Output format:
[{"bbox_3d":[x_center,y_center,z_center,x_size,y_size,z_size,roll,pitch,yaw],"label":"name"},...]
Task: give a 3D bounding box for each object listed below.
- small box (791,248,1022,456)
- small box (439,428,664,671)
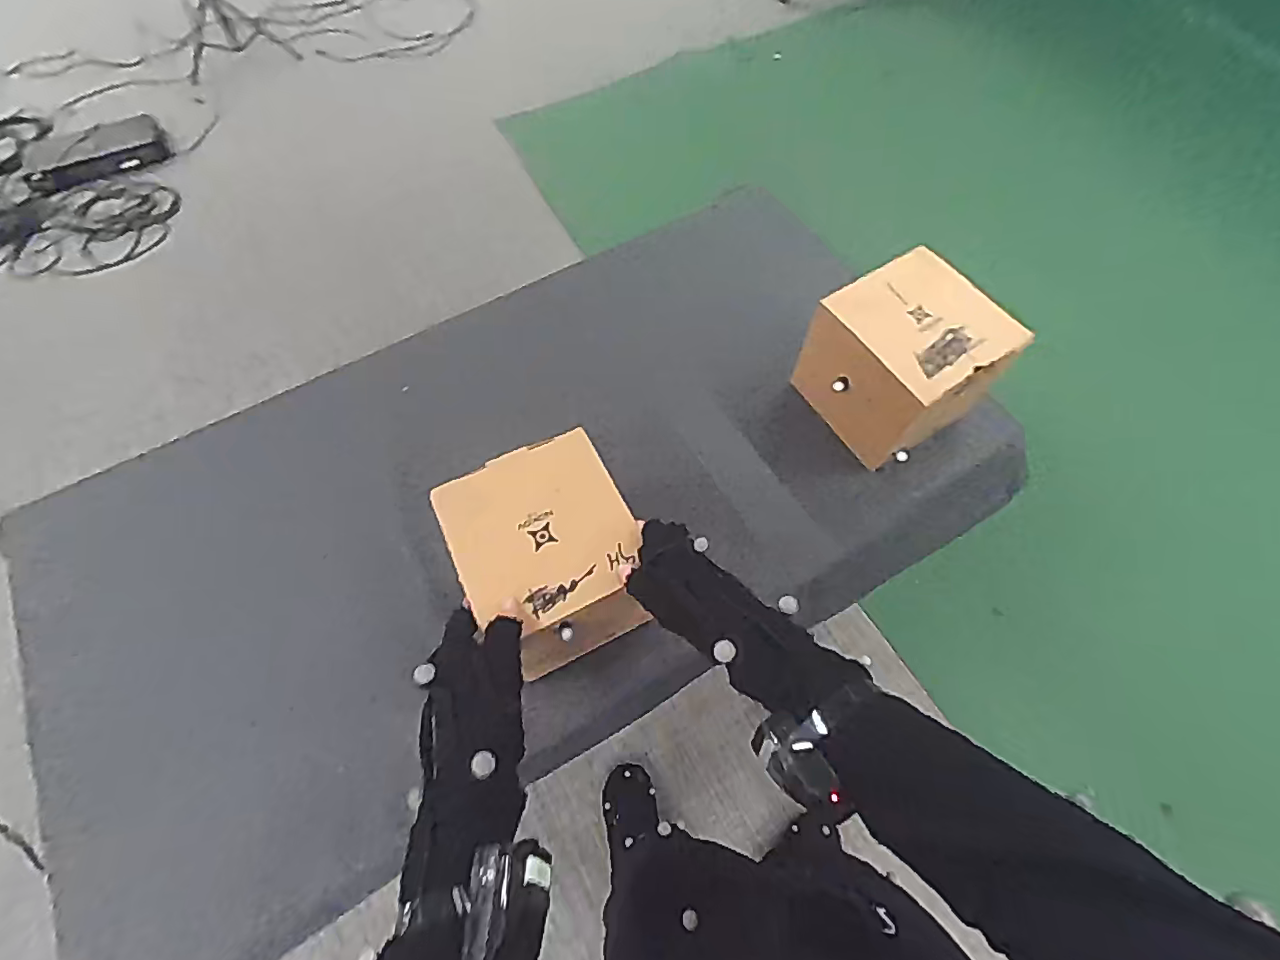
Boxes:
[{"bbox_3d":[0.324,-0.152,0.699,0.168,0.176,0.179,-30,67,-11],"label":"small box"},{"bbox_3d":[-0.088,0.081,0.580,0.168,0.176,0.179,-25,65,-11],"label":"small box"}]
